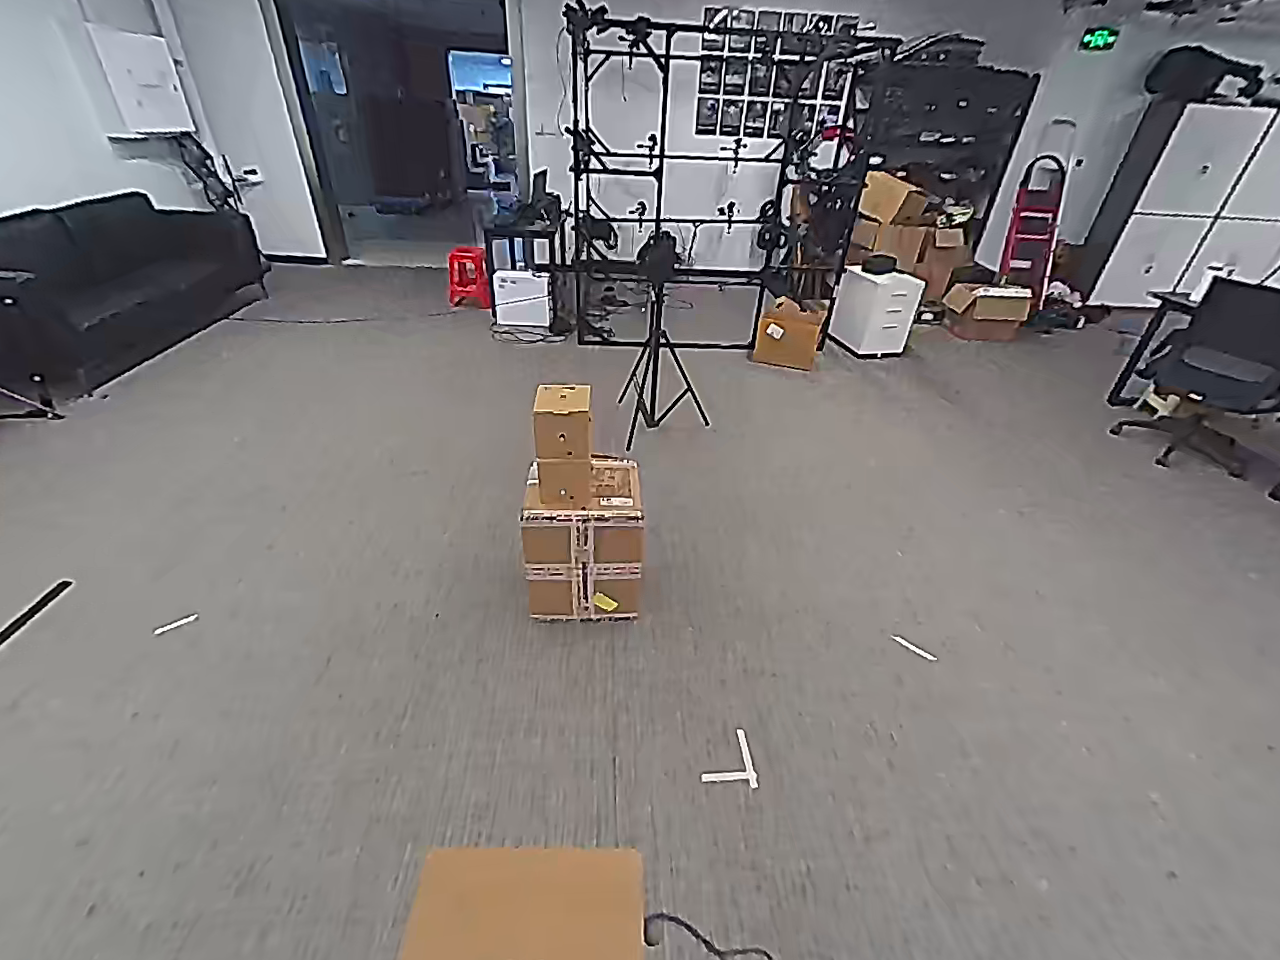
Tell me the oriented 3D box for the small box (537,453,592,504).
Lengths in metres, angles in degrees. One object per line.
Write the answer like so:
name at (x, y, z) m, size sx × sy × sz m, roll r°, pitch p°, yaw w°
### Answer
small box at (-0.244, -0.037, 1.779) m, size 0.168 × 0.176 × 0.179 m, roll -1°, pitch 37°, yaw -5°

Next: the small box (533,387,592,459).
small box at (-0.236, -0.177, 1.693) m, size 0.168 × 0.176 × 0.179 m, roll 0°, pitch 37°, yaw -3°
